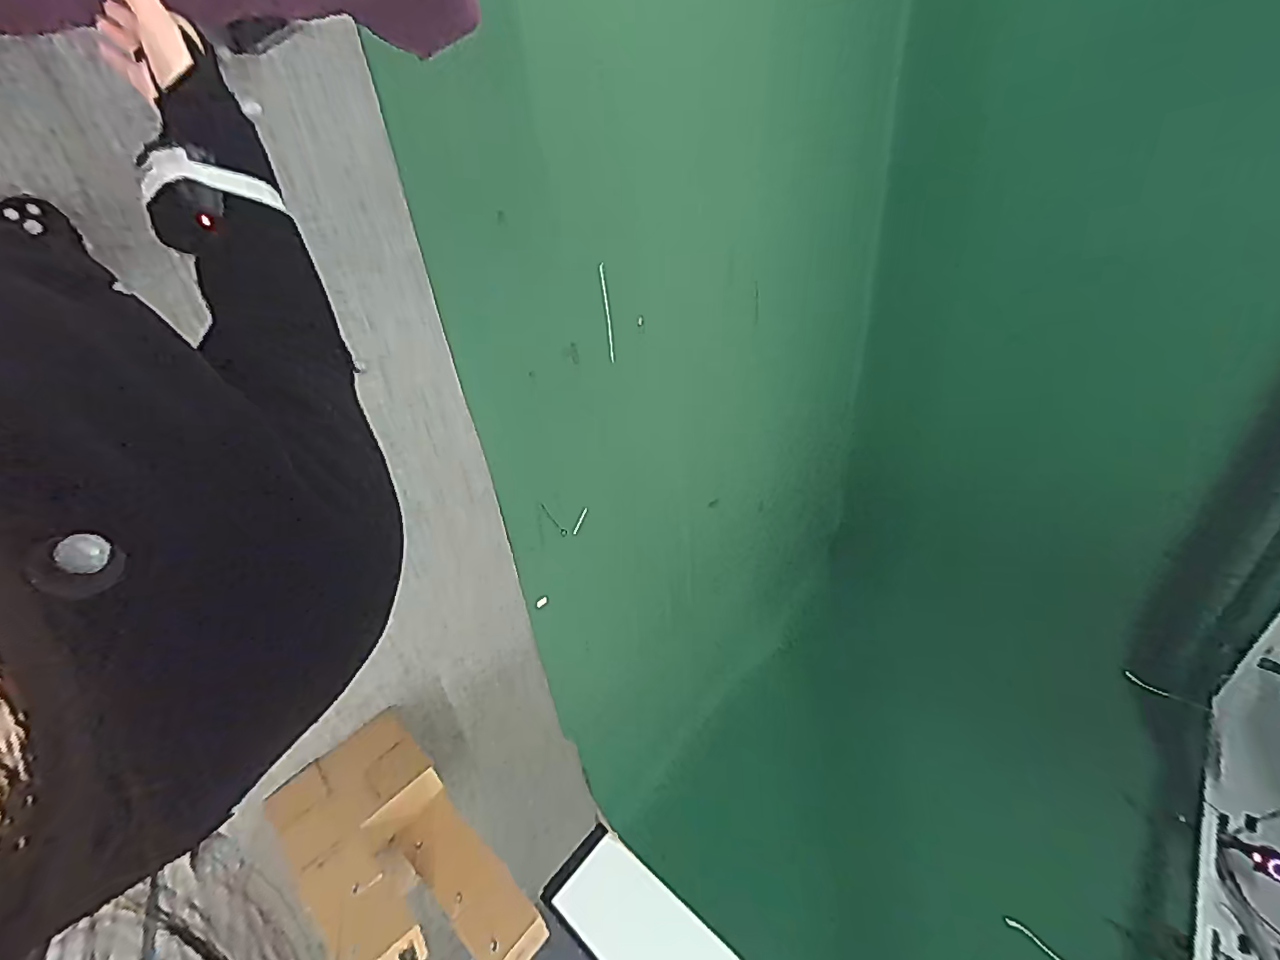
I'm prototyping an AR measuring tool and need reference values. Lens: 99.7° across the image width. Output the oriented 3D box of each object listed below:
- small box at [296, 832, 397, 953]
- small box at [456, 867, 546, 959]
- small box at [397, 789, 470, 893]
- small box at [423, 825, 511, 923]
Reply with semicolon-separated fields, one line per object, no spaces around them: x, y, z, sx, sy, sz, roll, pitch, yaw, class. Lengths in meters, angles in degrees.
-0.797;1.111;1.470;0.168;0.176;0.179;-31;132;-38;small box
-0.390;1.239;1.501;0.179;0.176;0.168;-35;136;-36;small box
-0.632;1.121;1.688;0.179;0.176;0.168;-37;137;-35;small box
-0.506;1.175;1.599;0.179;0.176;0.168;-35;136;-34;small box
